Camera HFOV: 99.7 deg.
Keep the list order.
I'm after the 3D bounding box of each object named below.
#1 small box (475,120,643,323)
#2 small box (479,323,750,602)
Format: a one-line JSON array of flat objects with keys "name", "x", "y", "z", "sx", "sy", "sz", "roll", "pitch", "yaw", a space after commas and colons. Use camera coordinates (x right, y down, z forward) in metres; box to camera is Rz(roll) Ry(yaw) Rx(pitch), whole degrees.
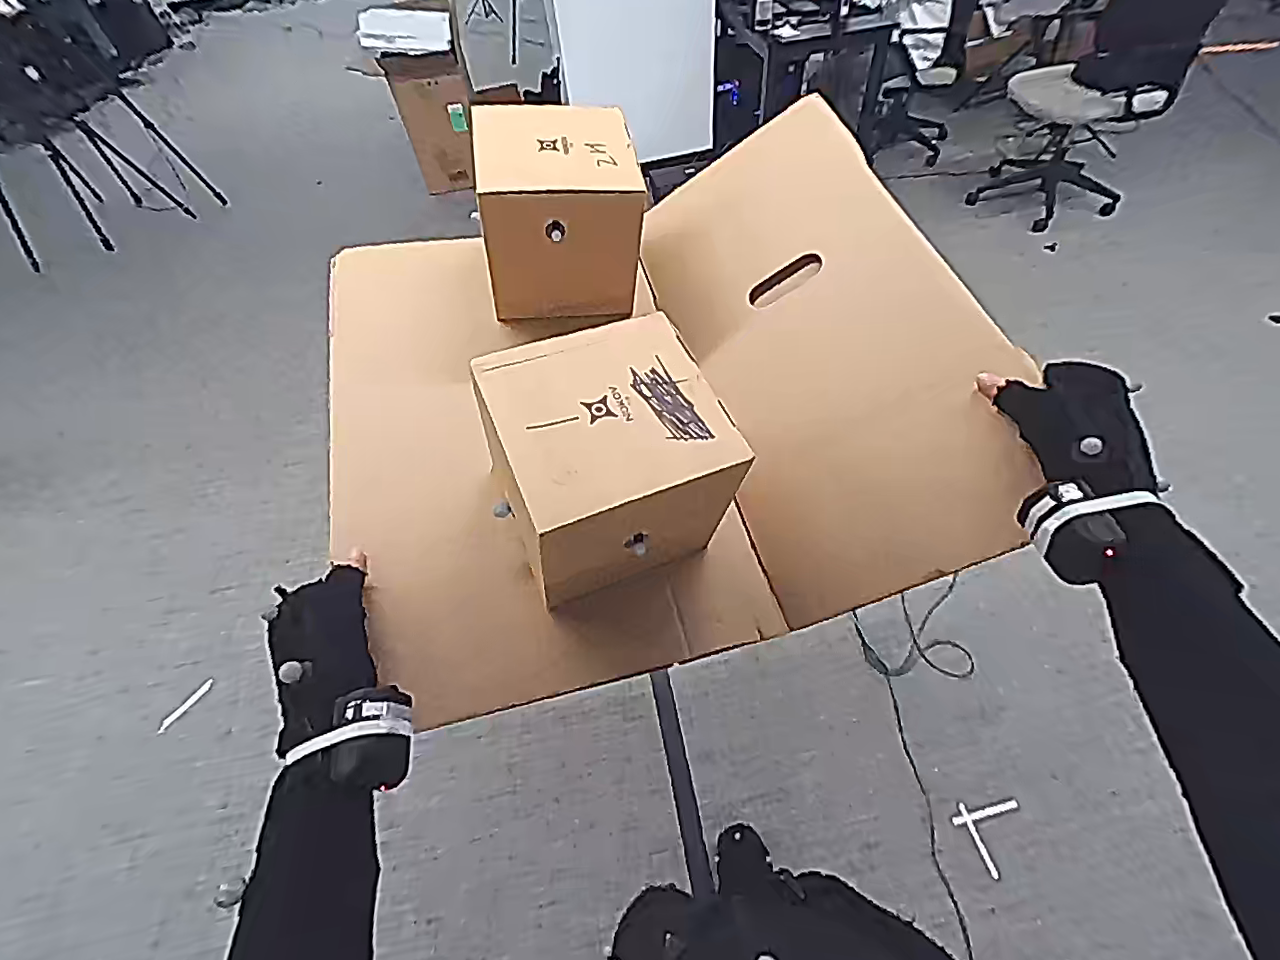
[{"name": "small box", "x": -0.100, "y": -0.312, "z": 0.669, "sx": 0.179, "sy": 0.176, "sz": 0.168, "roll": -6, "pitch": 61, "yaw": -10}, {"name": "small box", "x": -0.031, "y": -0.011, "z": 0.500, "sx": 0.179, "sy": 0.176, "sz": 0.168, "roll": -19, "pitch": 64, "yaw": -17}]
